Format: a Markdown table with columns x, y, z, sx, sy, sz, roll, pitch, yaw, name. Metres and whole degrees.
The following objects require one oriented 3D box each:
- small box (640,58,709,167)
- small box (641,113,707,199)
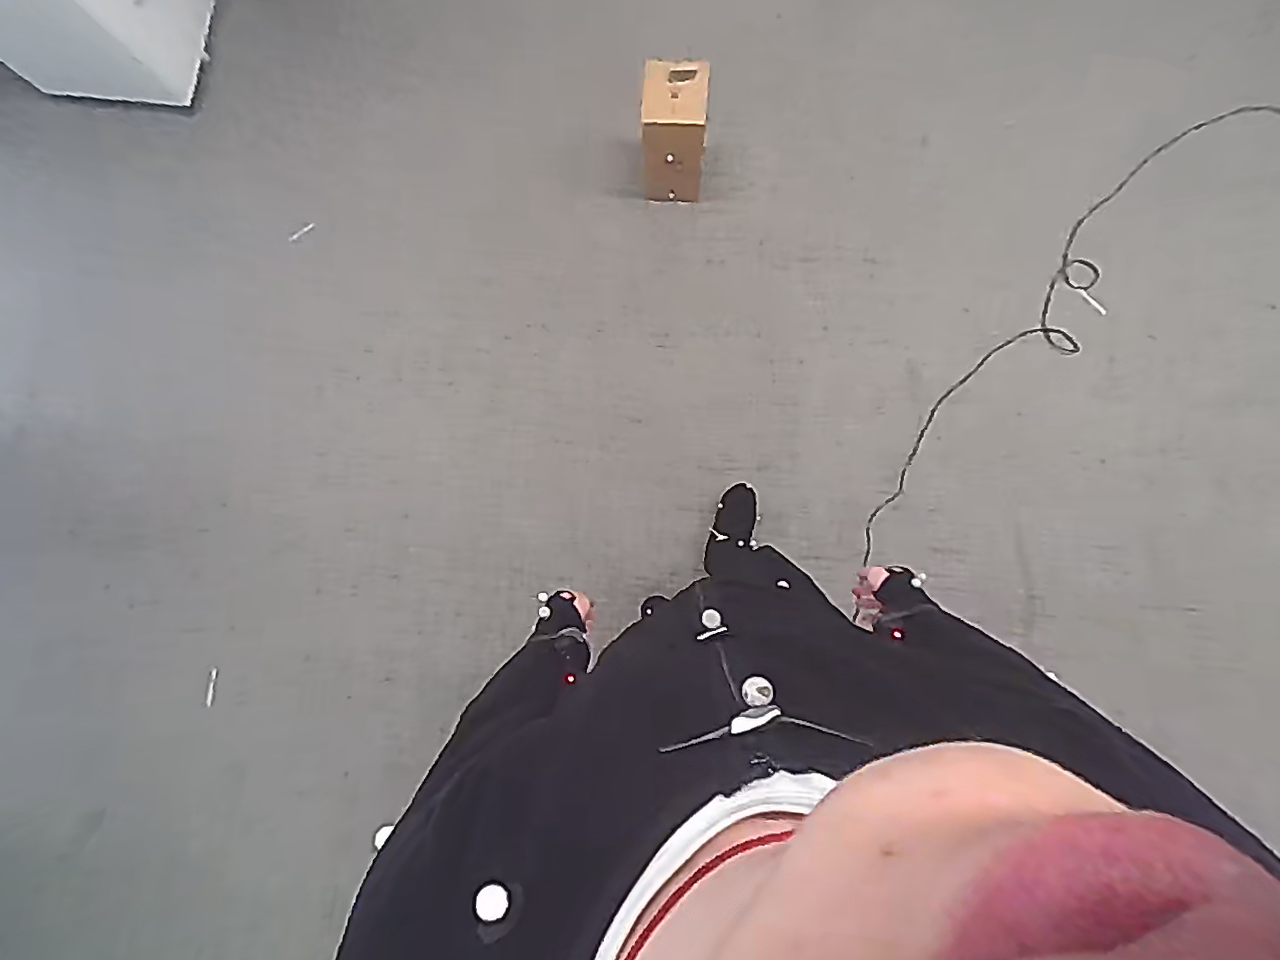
| x | y | z | sx | sy | sz | roll | pitch | yaw | name |
| --- | --- | --- | --- | --- | --- | --- | --- | --- | --- |
| 0.092 | -0.982 | 1.452 | 0.168 | 0.176 | 0.179 | 4 | 84 | 4 | small box |
| 0.099 | -0.970 | 1.617 | 0.179 | 0.176 | 0.168 | 6 | 83 | 3 | small box |
